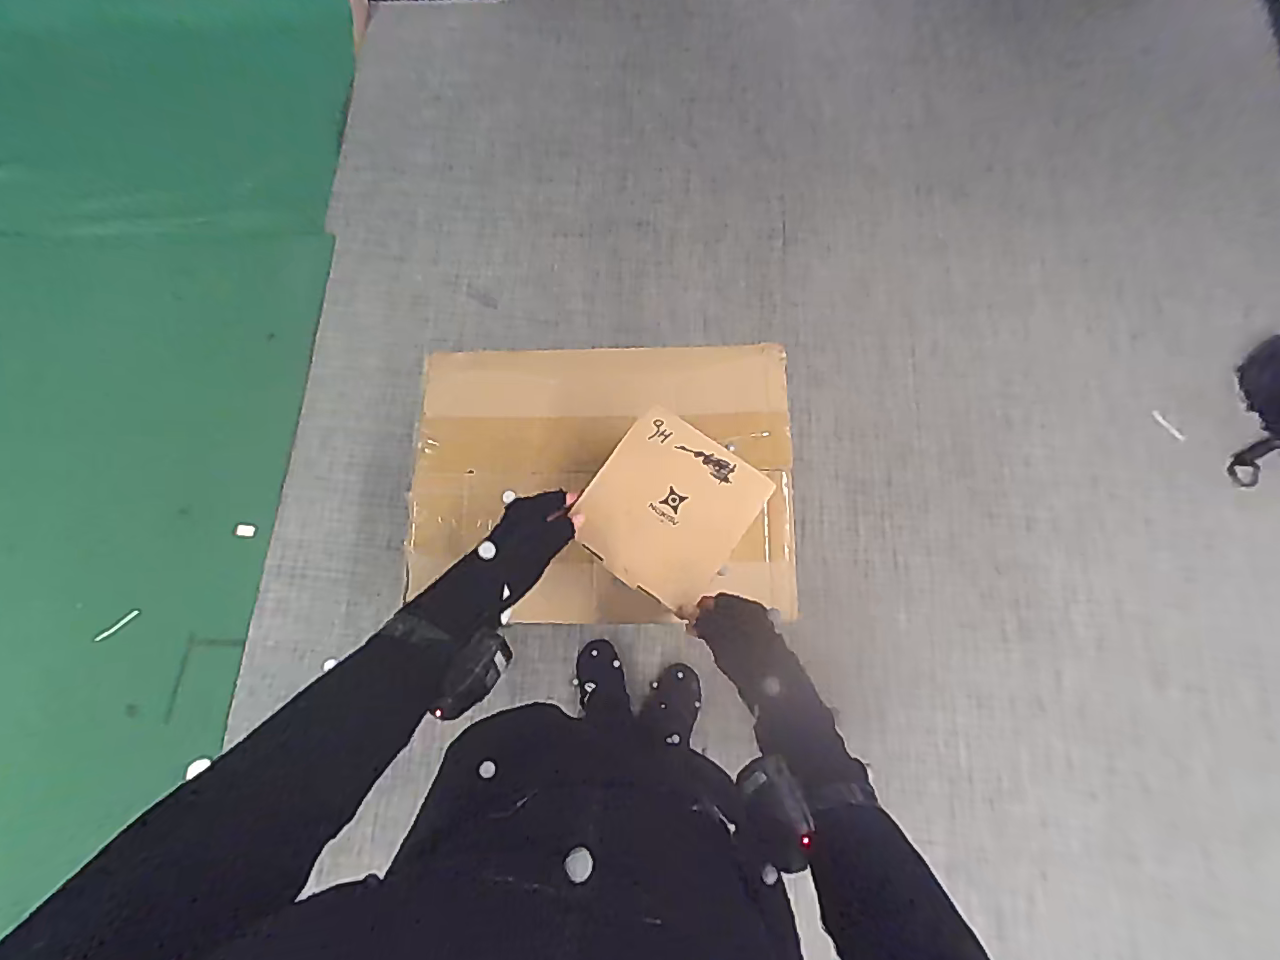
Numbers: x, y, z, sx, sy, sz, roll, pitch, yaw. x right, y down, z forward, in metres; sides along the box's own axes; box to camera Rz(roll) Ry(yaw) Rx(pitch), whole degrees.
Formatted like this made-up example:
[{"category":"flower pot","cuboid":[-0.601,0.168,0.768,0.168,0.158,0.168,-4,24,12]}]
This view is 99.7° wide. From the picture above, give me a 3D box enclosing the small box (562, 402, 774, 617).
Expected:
[{"category":"small box","cuboid":[0.034,0.042,0.657,0.168,0.176,0.179,38,84,7]}]
